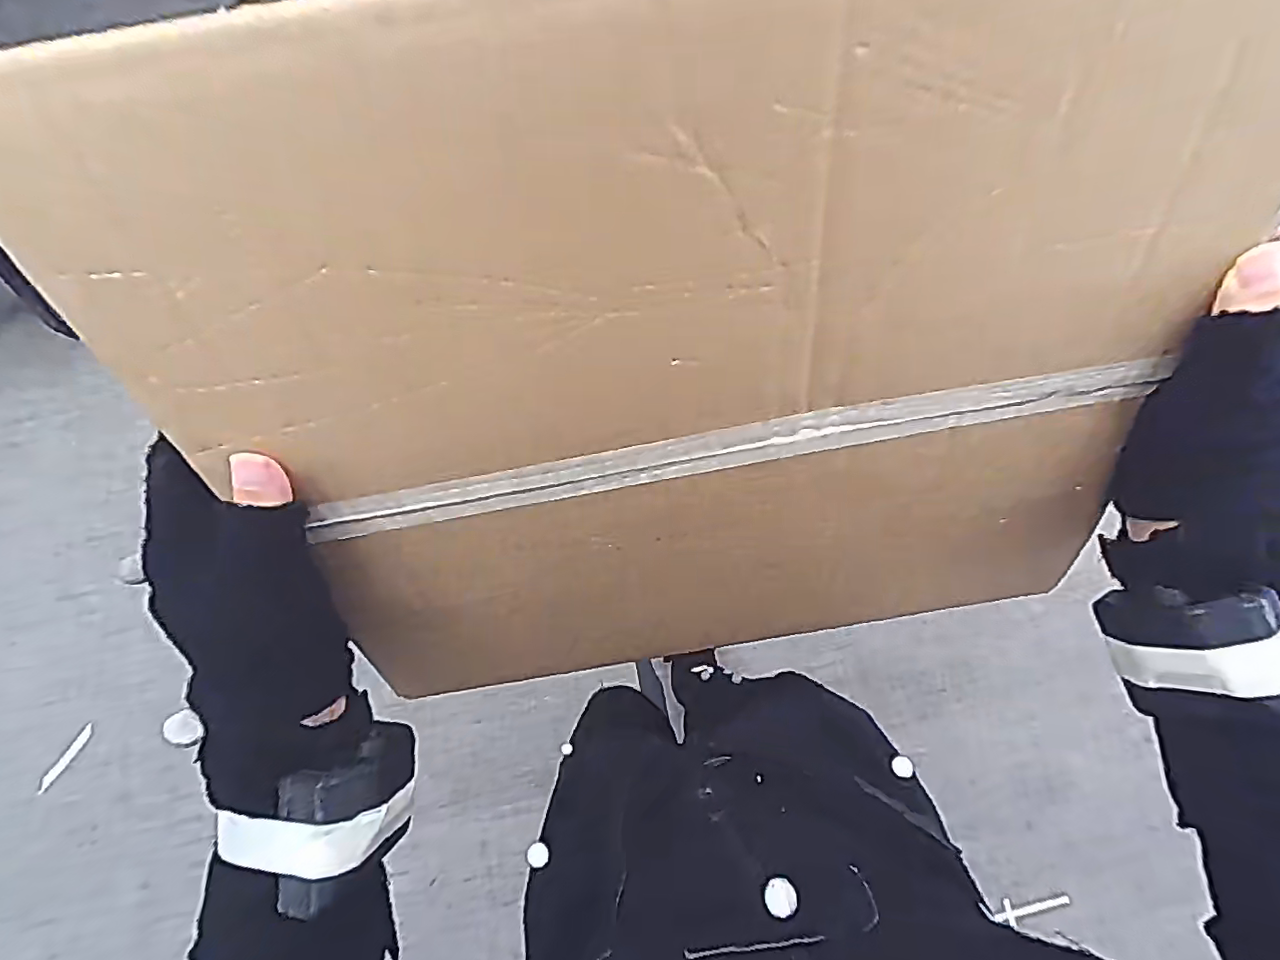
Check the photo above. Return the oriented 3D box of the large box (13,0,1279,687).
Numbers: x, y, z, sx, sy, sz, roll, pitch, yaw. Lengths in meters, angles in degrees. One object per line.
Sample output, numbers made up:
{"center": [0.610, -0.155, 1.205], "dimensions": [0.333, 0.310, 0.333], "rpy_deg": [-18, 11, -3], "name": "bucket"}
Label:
{"center": [0.019, -0.112, 0.357], "dimensions": [0.408, 0.320, 0.320], "rpy_deg": [-10, 42, 0], "name": "large box"}
